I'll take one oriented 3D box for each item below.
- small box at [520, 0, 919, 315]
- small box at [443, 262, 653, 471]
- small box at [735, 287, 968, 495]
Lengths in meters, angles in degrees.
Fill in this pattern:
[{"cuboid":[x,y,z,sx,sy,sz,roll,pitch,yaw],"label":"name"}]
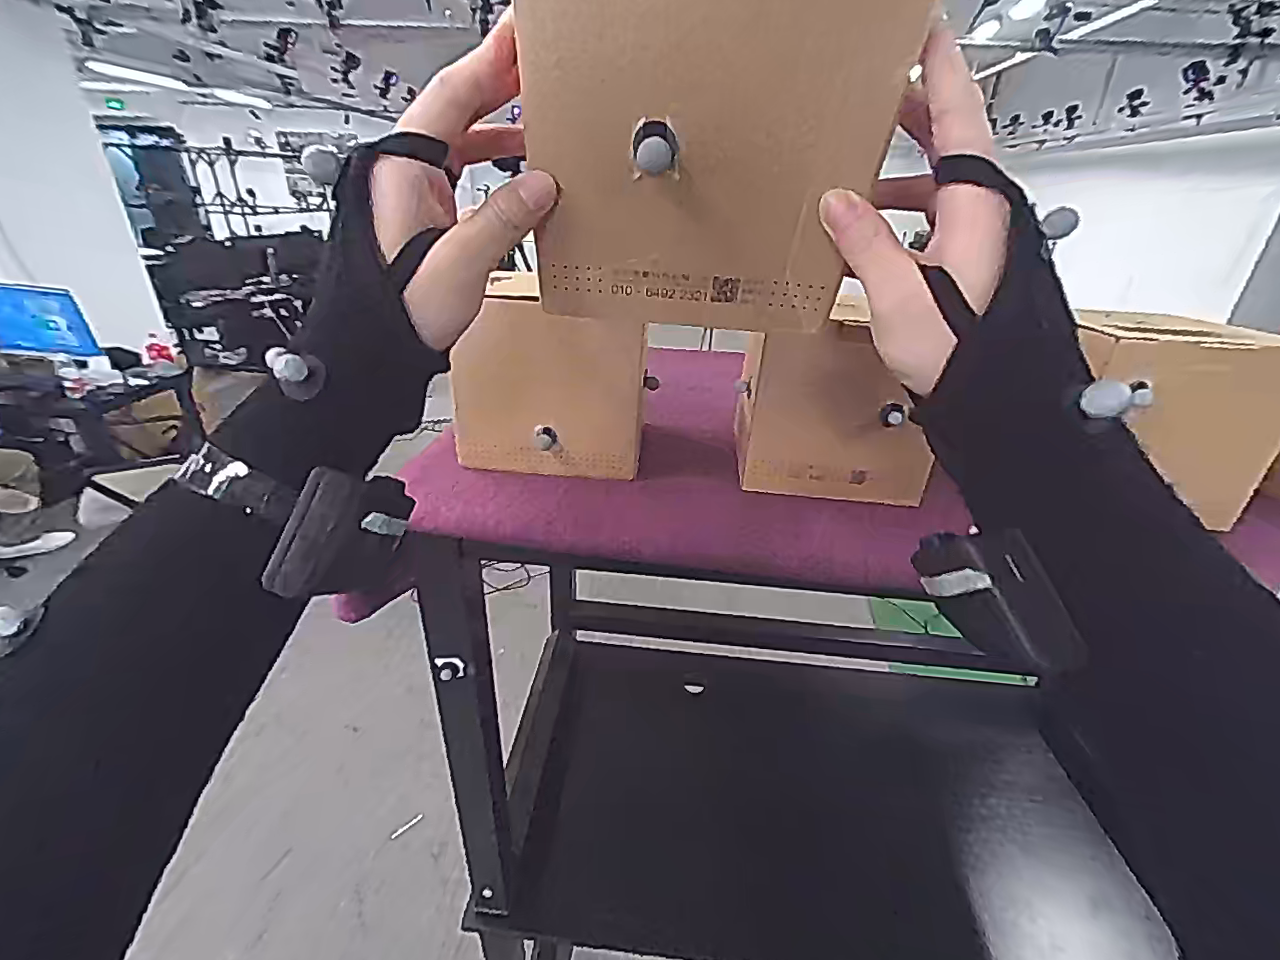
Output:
[{"cuboid":[0.037,-0.213,0.312,0.168,0.176,0.179,4,47,0],"label":"small box"},{"cuboid":[-0.082,-0.120,0.558,0.179,0.176,0.168,5,27,0],"label":"small box"},{"cuboid":[0.191,-0.098,0.548,0.168,0.176,0.179,6,26,5],"label":"small box"}]
